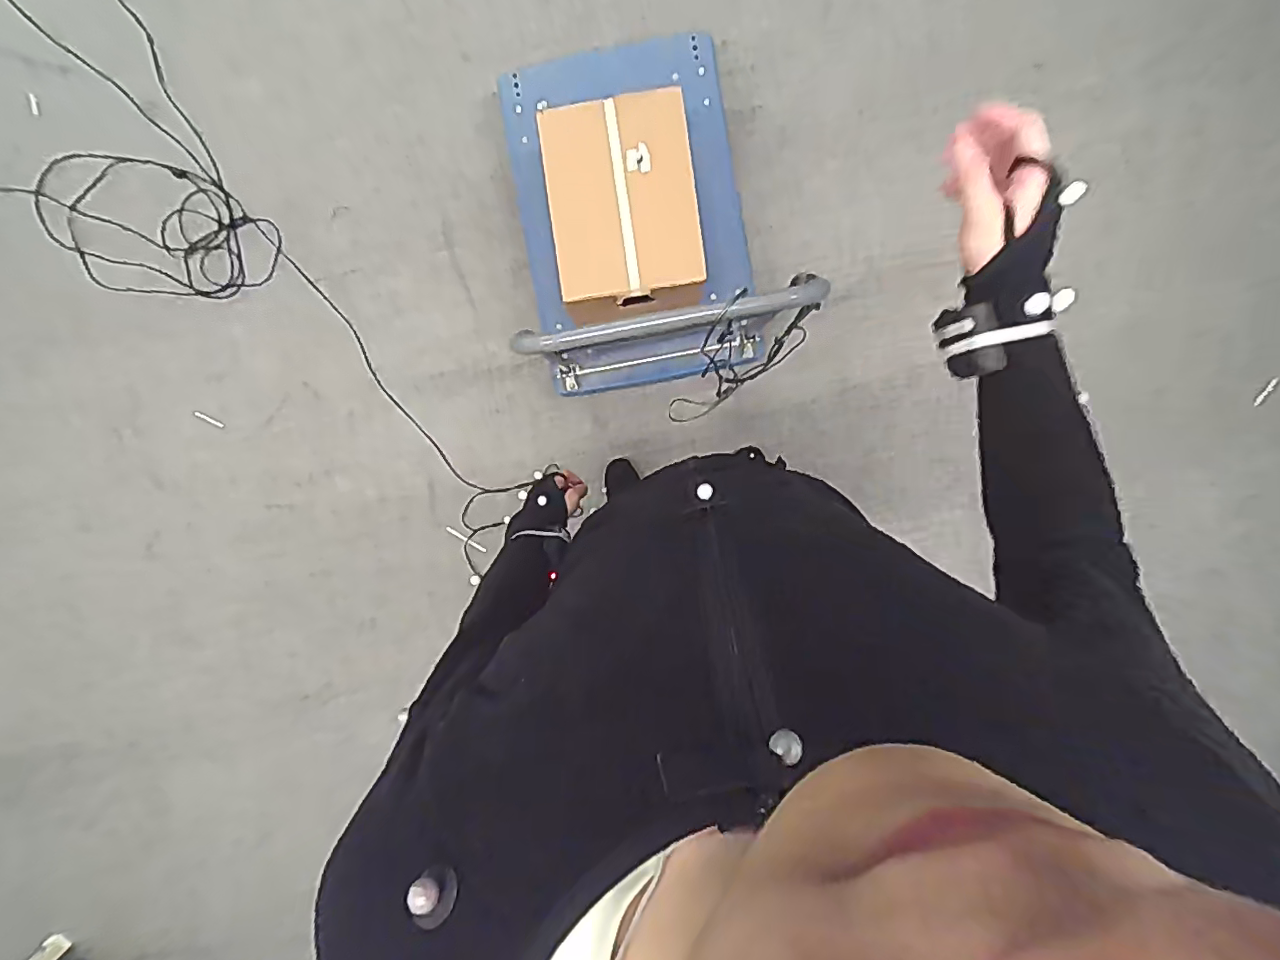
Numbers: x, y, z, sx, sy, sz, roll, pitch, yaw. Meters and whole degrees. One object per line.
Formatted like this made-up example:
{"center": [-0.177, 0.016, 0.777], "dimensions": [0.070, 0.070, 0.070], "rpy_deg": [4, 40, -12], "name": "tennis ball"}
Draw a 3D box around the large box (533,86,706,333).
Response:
{"center": [-0.037, -0.602, 1.276], "dimensions": [0.320, 0.320, 0.408], "rpy_deg": [-8, 92, 2], "name": "large box"}
